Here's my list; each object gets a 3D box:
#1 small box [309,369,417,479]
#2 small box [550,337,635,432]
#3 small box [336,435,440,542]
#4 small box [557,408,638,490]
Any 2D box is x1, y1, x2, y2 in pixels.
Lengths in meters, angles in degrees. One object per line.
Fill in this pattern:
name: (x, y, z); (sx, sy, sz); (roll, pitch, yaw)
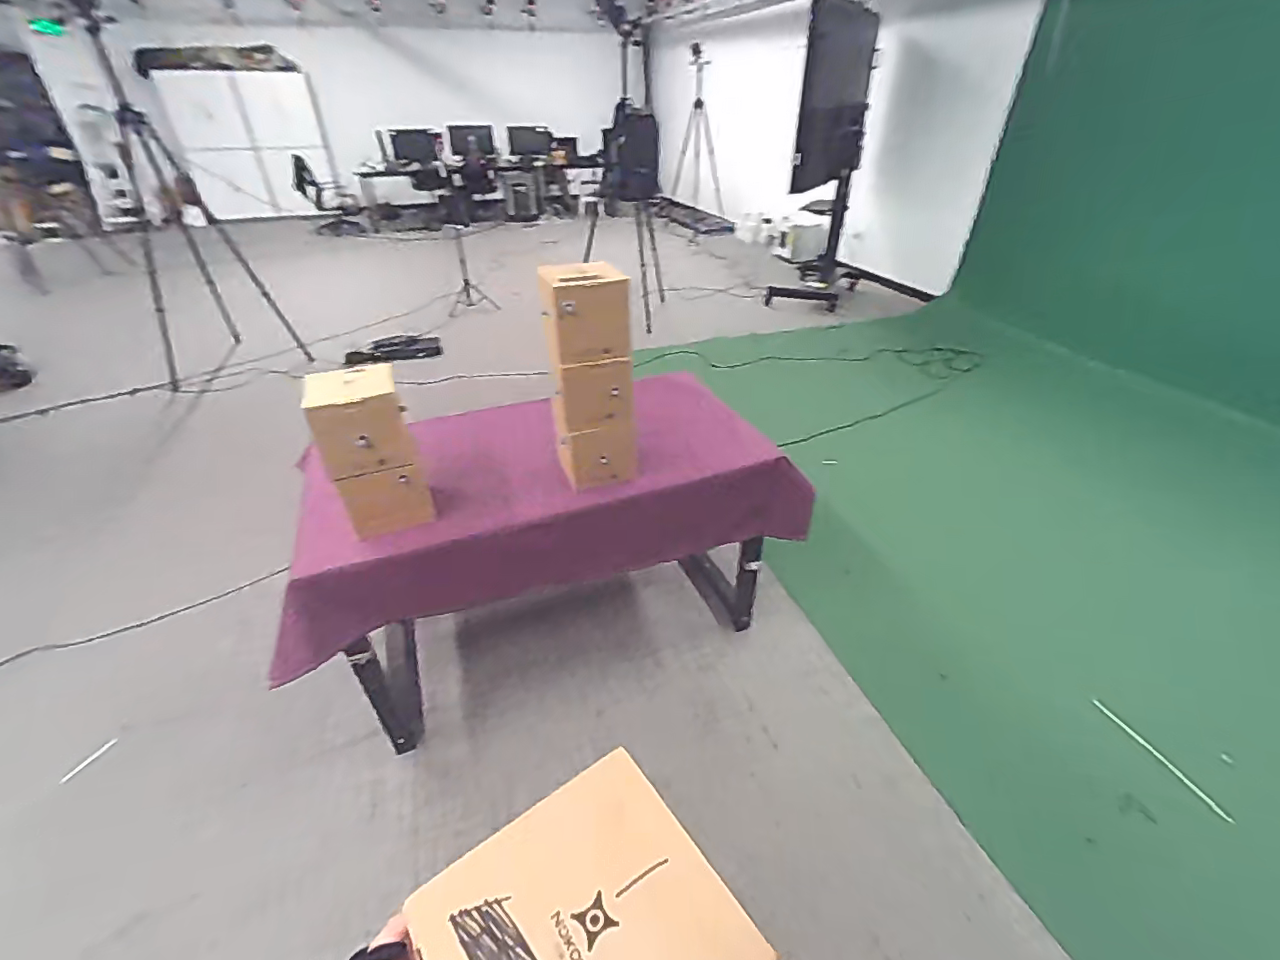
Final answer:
small box: (-0.587, -0.116, 1.159); (0.168, 0.176, 0.179); (-14, 37, -20)
small box: (-0.112, -0.226, 1.302); (0.168, 0.176, 0.179); (-11, 35, -15)
small box: (-0.579, 0.020, 1.251); (0.179, 0.176, 0.168); (-14, 36, -19)
small box: (-0.108, -0.089, 1.392); (0.168, 0.176, 0.179); (-12, 36, -16)
